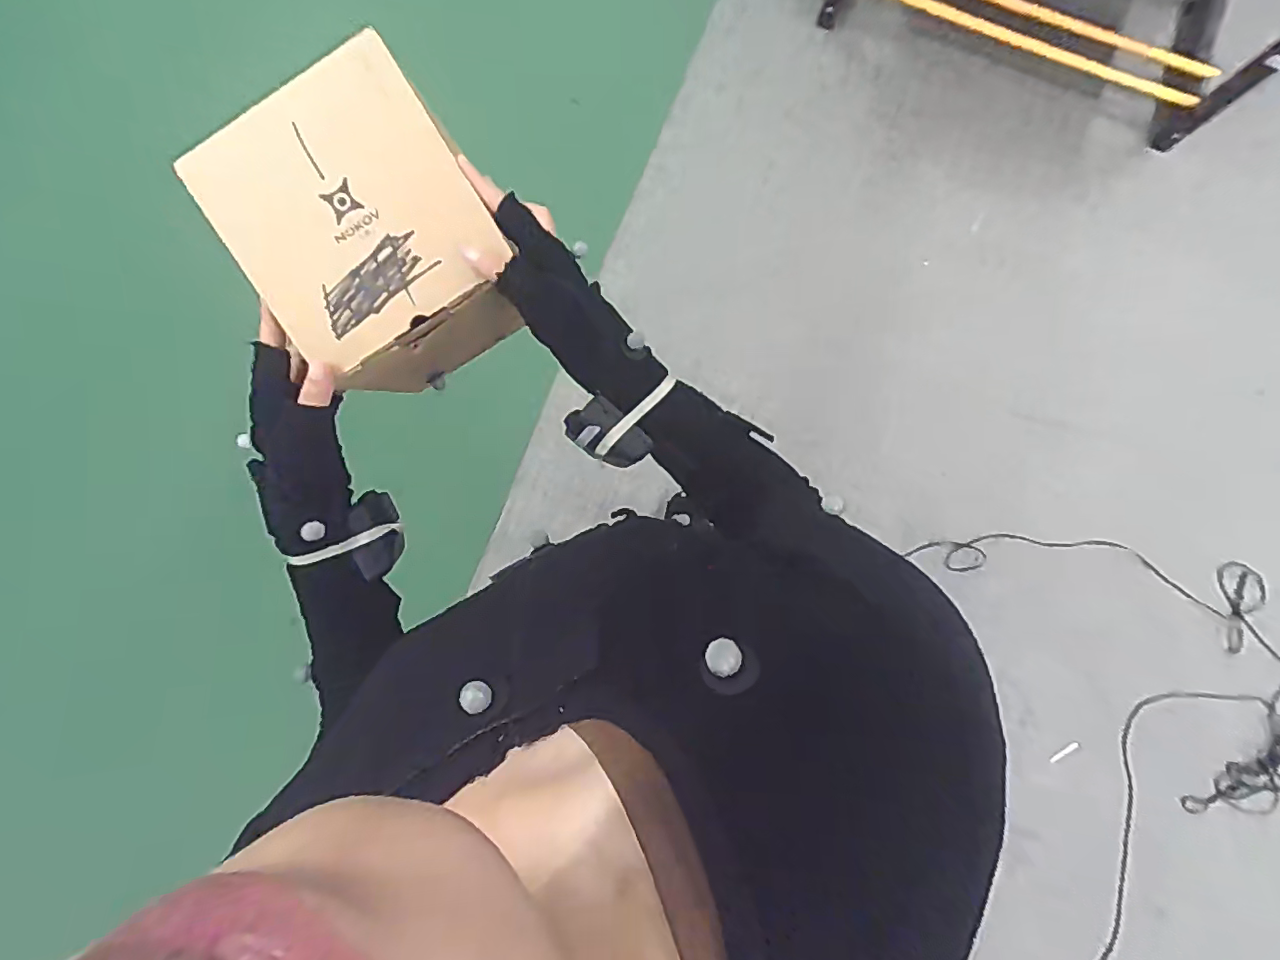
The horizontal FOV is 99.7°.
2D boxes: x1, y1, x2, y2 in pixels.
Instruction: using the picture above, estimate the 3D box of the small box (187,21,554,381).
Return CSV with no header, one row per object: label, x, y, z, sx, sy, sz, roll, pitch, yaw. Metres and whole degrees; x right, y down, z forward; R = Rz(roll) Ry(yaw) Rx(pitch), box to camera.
small box,-0.188,-0.194,0.441,0.168,0.176,0.179,-30,96,3
